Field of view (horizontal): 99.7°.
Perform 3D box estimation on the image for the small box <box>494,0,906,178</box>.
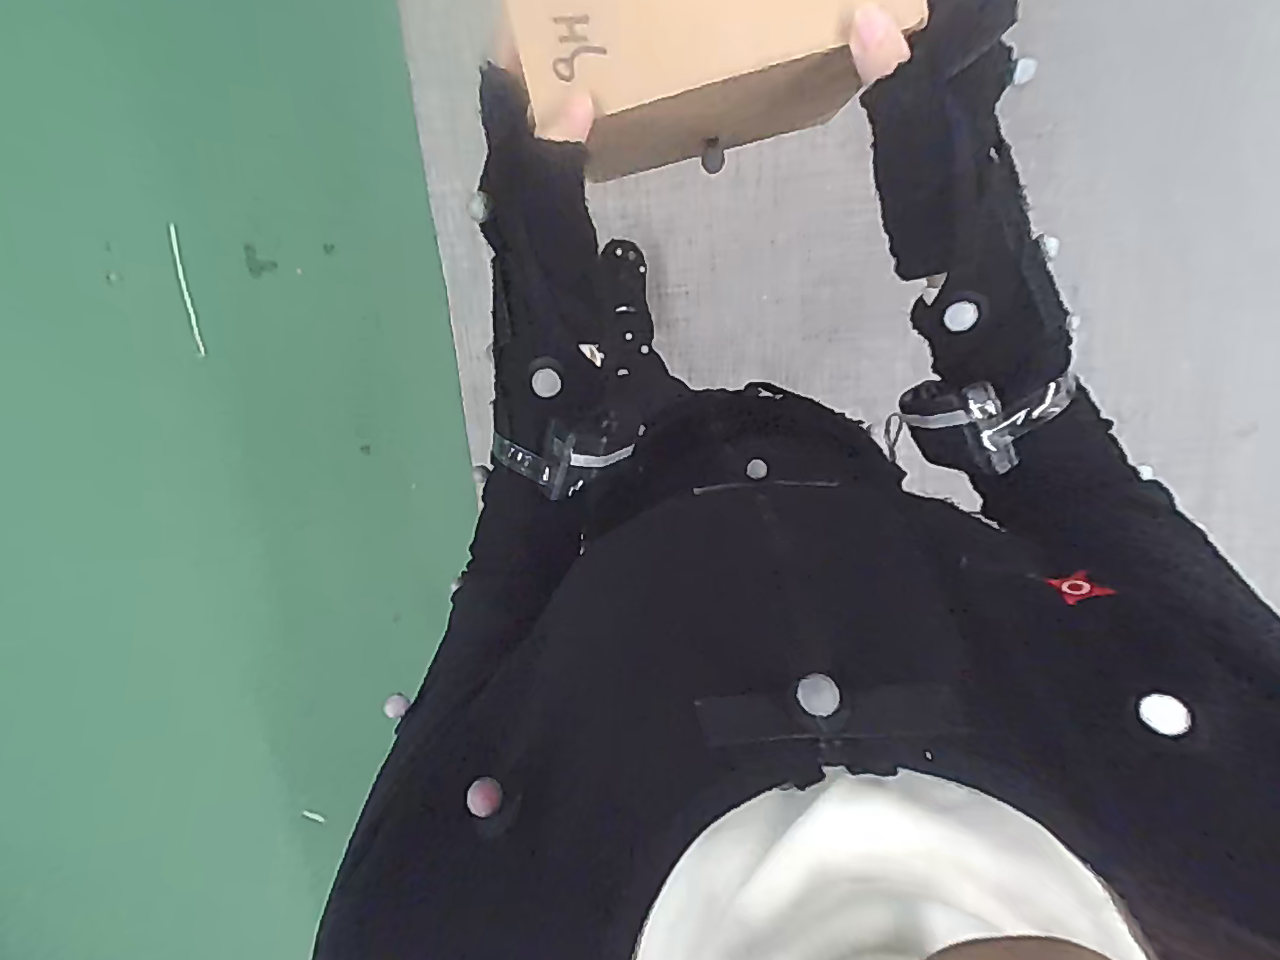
[{"bbox_3d":[0.020,-0.281,0.289,0.179,0.176,0.168,-9,109,8],"label":"small box"}]
